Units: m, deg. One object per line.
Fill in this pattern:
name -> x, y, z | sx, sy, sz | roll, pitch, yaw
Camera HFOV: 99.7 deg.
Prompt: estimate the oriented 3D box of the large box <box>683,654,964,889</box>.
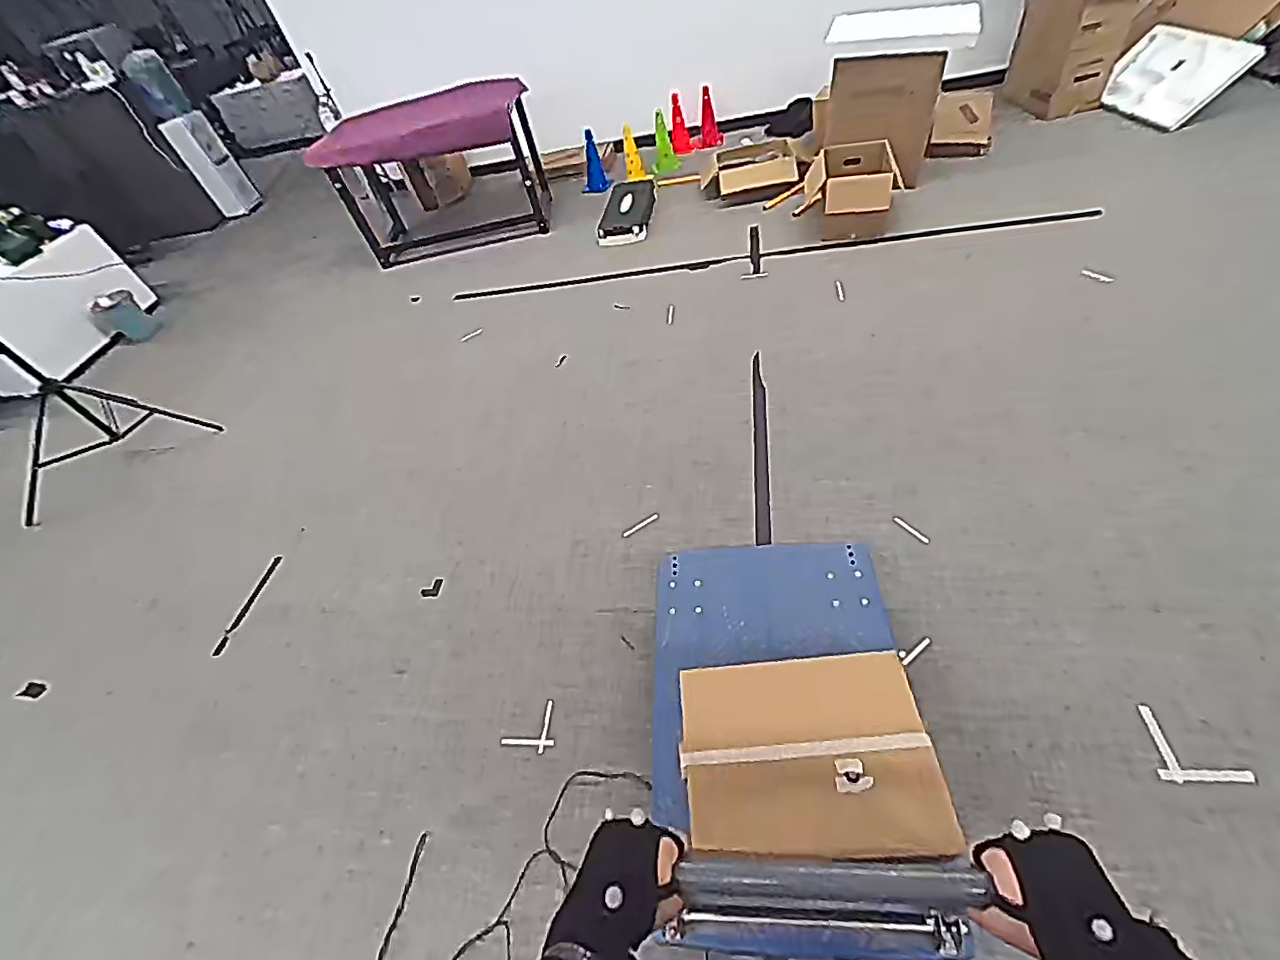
large box -> 0.306, 0.560, 1.026 | 0.408, 0.320, 0.320 | -8, 49, 6
